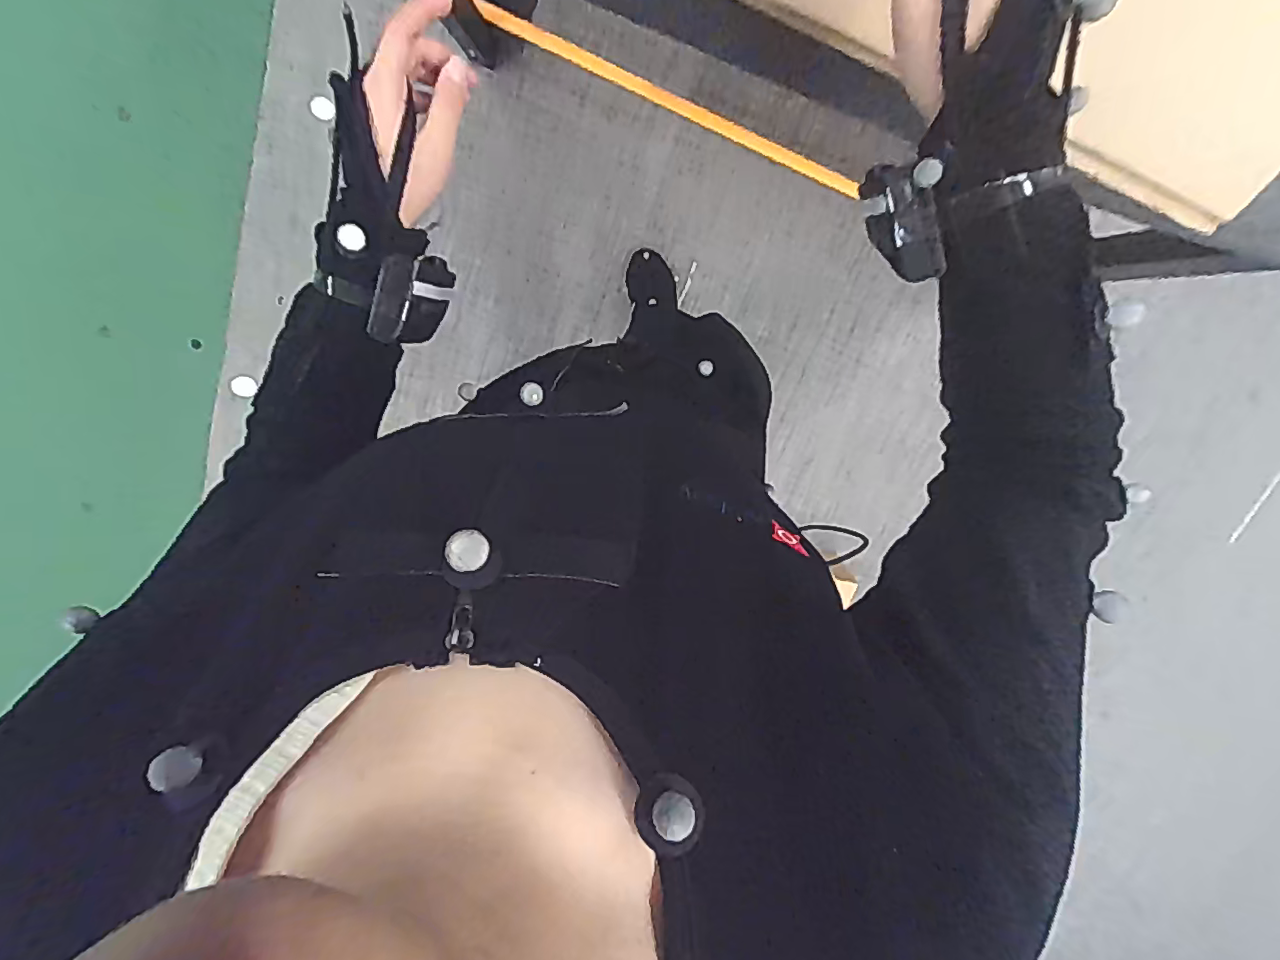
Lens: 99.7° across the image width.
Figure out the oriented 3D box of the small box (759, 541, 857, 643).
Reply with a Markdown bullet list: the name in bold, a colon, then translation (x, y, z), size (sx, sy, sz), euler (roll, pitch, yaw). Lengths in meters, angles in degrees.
- **small box**: translation (0.415, 0.275, 1.370), size (0.168, 0.176, 0.179), euler (16, 106, -3)
